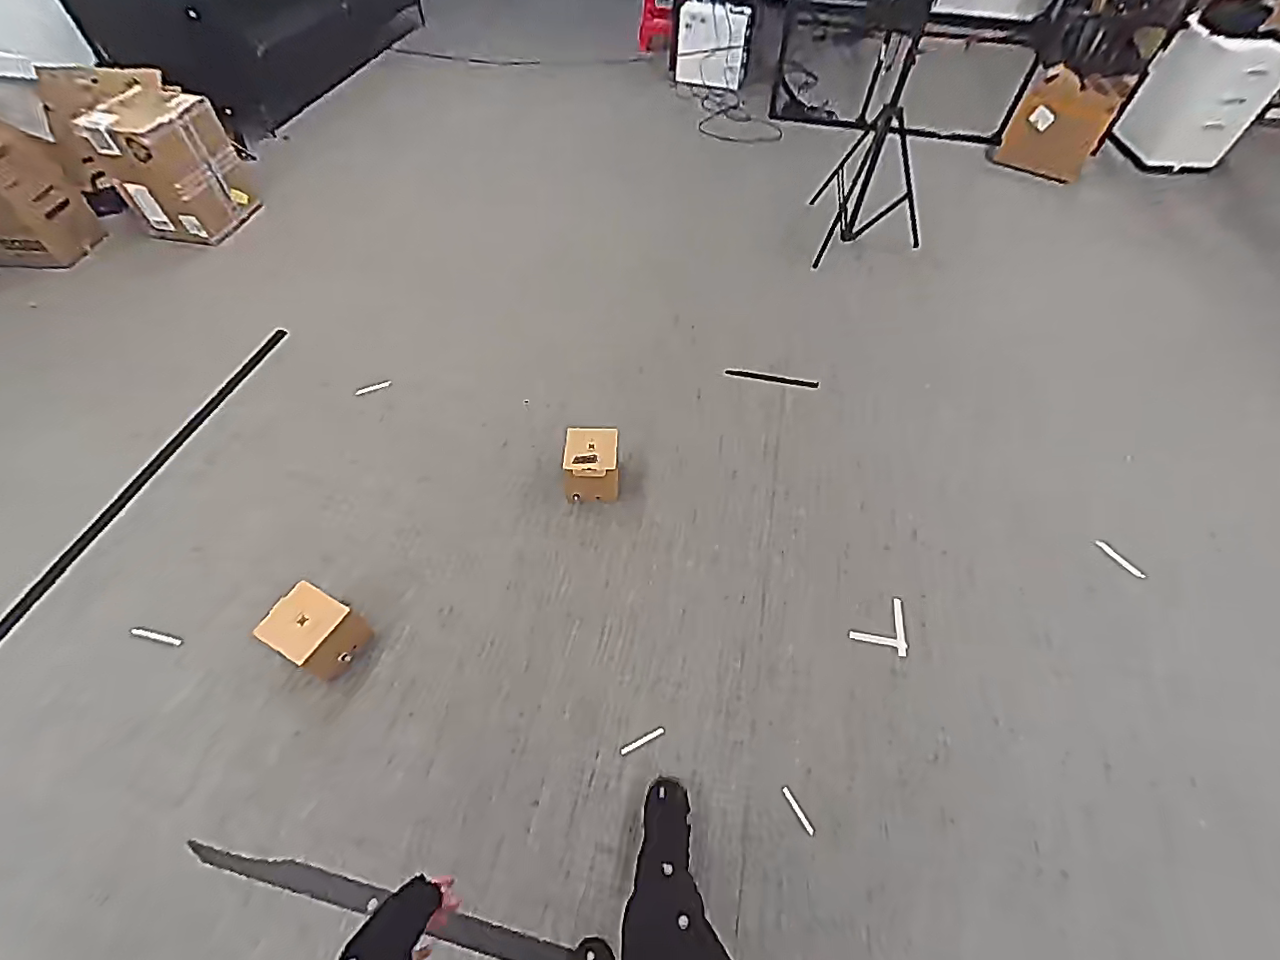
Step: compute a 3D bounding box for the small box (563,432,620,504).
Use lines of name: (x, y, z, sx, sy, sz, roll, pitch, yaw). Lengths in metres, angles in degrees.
small box: (-0.152, -0.035, 1.765, 0.168, 0.176, 0.179, 1, 53, 0)

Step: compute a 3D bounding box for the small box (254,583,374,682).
small box: (-0.846, 0.405, 1.418, 0.179, 0.176, 0.168, 25, 58, 14)
